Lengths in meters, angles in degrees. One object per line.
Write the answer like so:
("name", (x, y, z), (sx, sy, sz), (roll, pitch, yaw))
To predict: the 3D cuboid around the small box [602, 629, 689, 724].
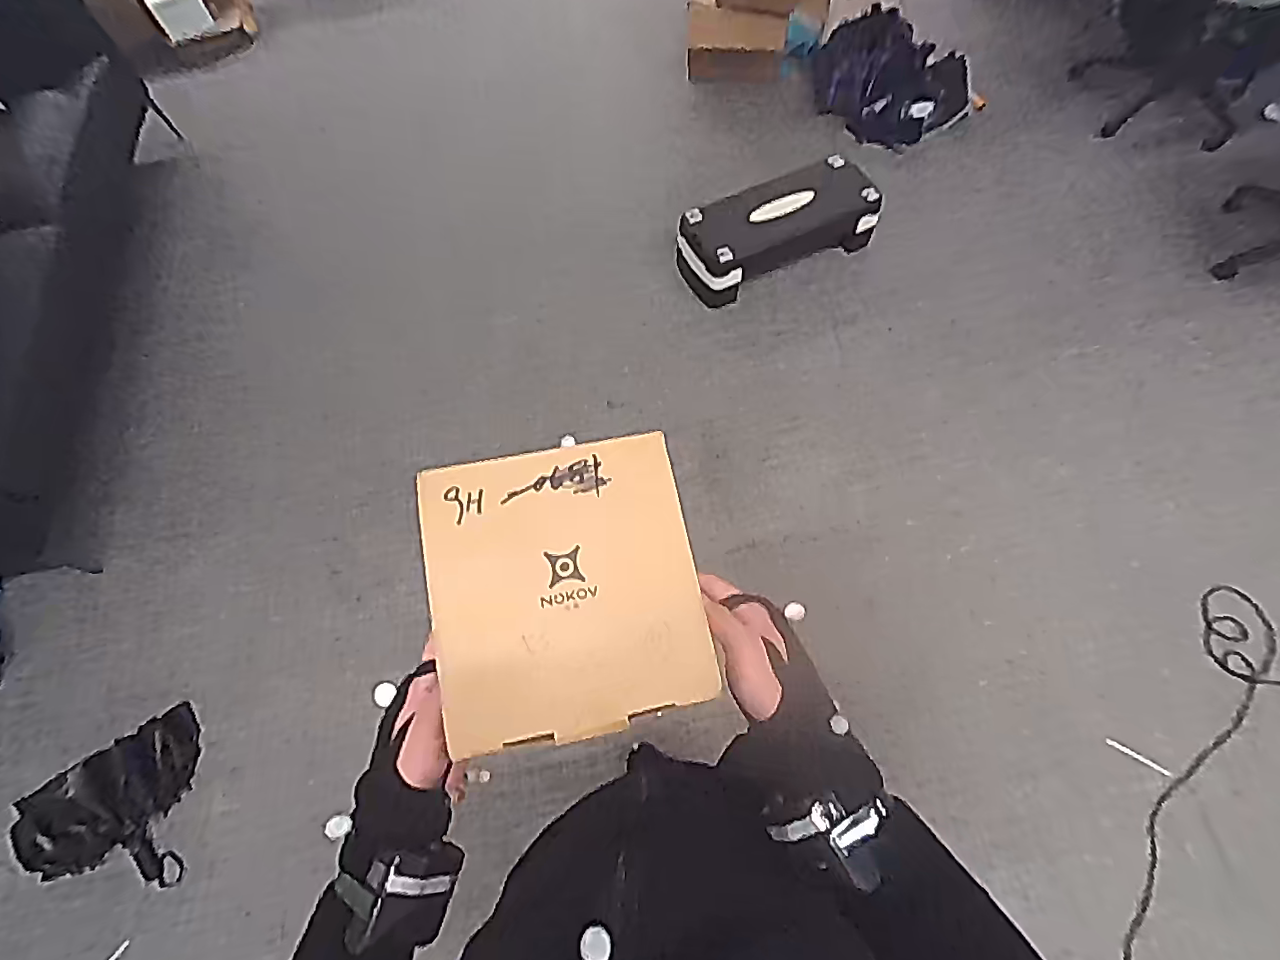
("small box", (0.014, 0.491, 1.339), (0.168, 0.176, 0.179), (-18, 66, -5))
